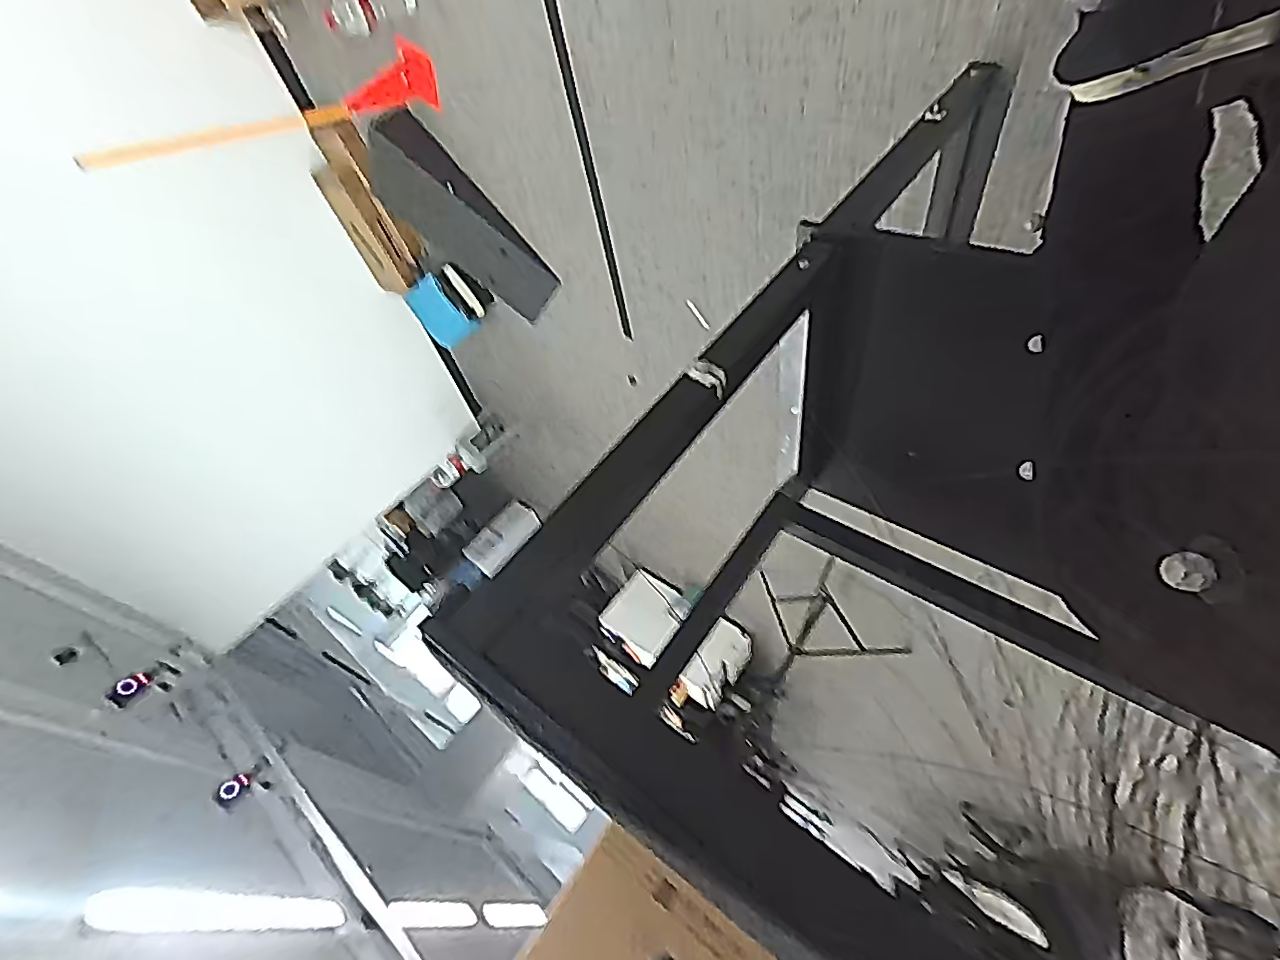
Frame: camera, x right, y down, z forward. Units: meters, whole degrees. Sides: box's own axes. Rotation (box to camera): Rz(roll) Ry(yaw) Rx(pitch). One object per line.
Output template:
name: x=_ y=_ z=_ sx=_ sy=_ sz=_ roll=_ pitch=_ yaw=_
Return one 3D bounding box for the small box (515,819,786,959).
small box: x=0.007 y=0.394 z=0.409 sx=0.168 sy=0.176 sz=0.179 roll=26 pitch=152 yaw=28
